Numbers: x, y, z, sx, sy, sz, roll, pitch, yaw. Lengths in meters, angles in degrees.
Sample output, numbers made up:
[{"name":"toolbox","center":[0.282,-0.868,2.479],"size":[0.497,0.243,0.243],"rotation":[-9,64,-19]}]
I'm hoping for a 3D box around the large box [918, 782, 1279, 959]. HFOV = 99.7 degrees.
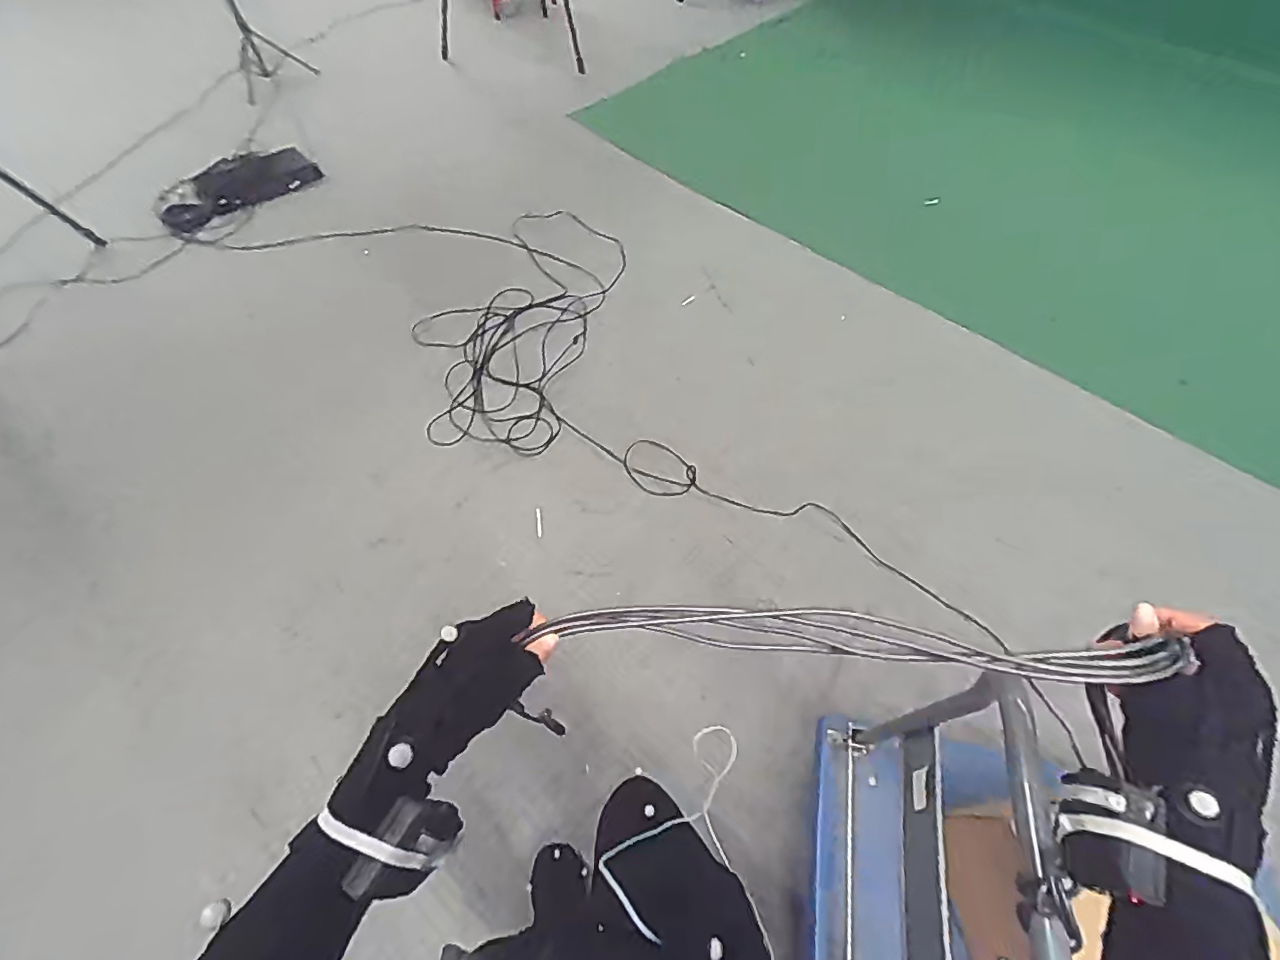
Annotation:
[{"name":"large box","center":[0.740,0.753,0.877],"size":[0.320,0.320,0.408],"rotation":[-7,58,-7]}]
